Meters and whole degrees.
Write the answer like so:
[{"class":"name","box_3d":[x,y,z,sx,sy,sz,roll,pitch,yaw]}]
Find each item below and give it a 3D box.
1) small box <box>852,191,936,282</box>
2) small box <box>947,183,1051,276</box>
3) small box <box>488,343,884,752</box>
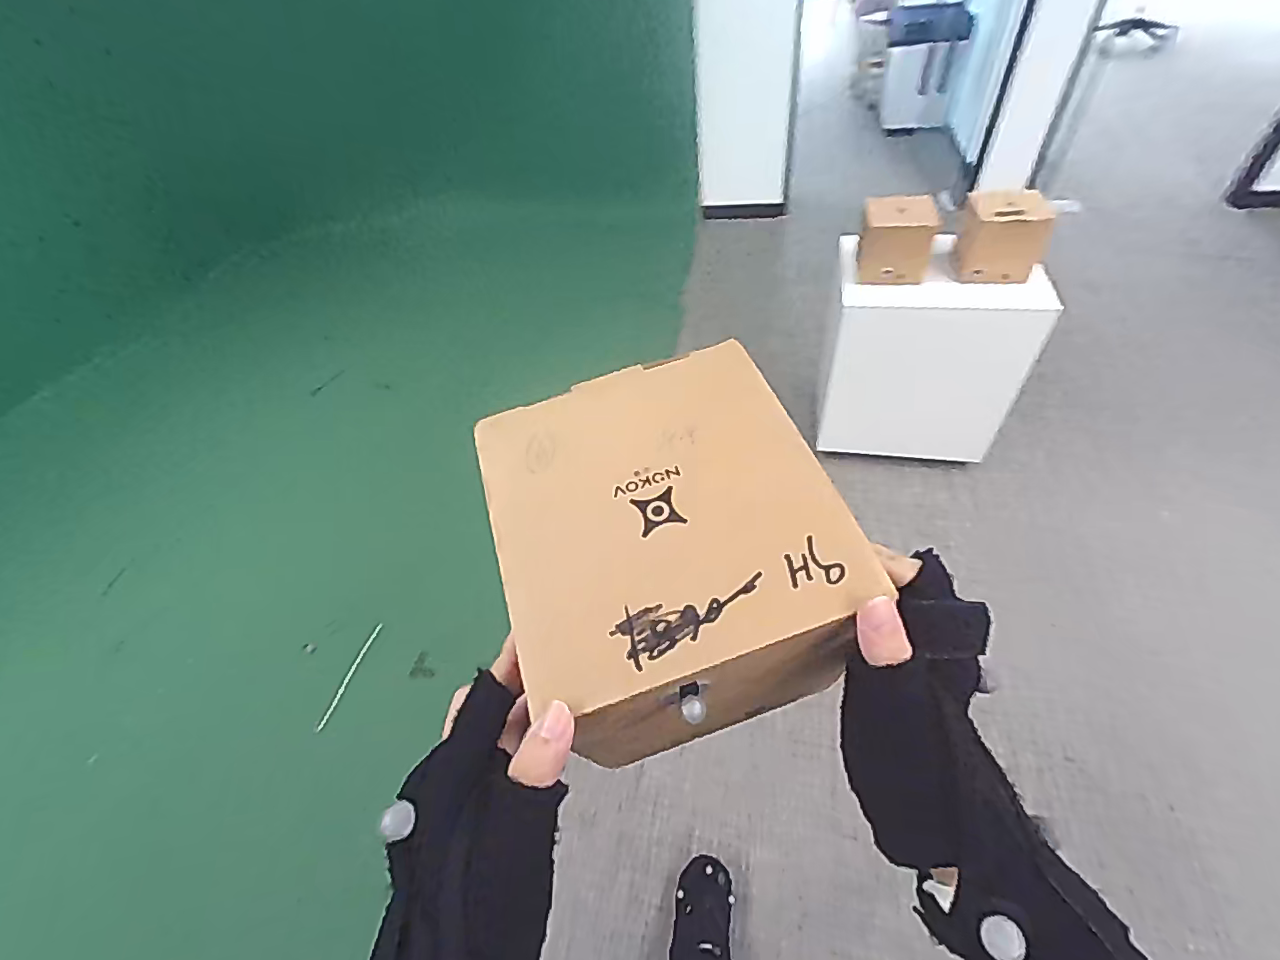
[{"class":"small box","box_3d":[0.677,-0.657,1.464,0.168,0.176,0.179,3,51,12]},{"class":"small box","box_3d":[0.927,-0.650,1.413,0.168,0.176,0.179,4,50,13]},{"class":"small box","box_3d":[0.019,0.050,0.347,0.168,0.176,0.179,-19,56,-2]}]
